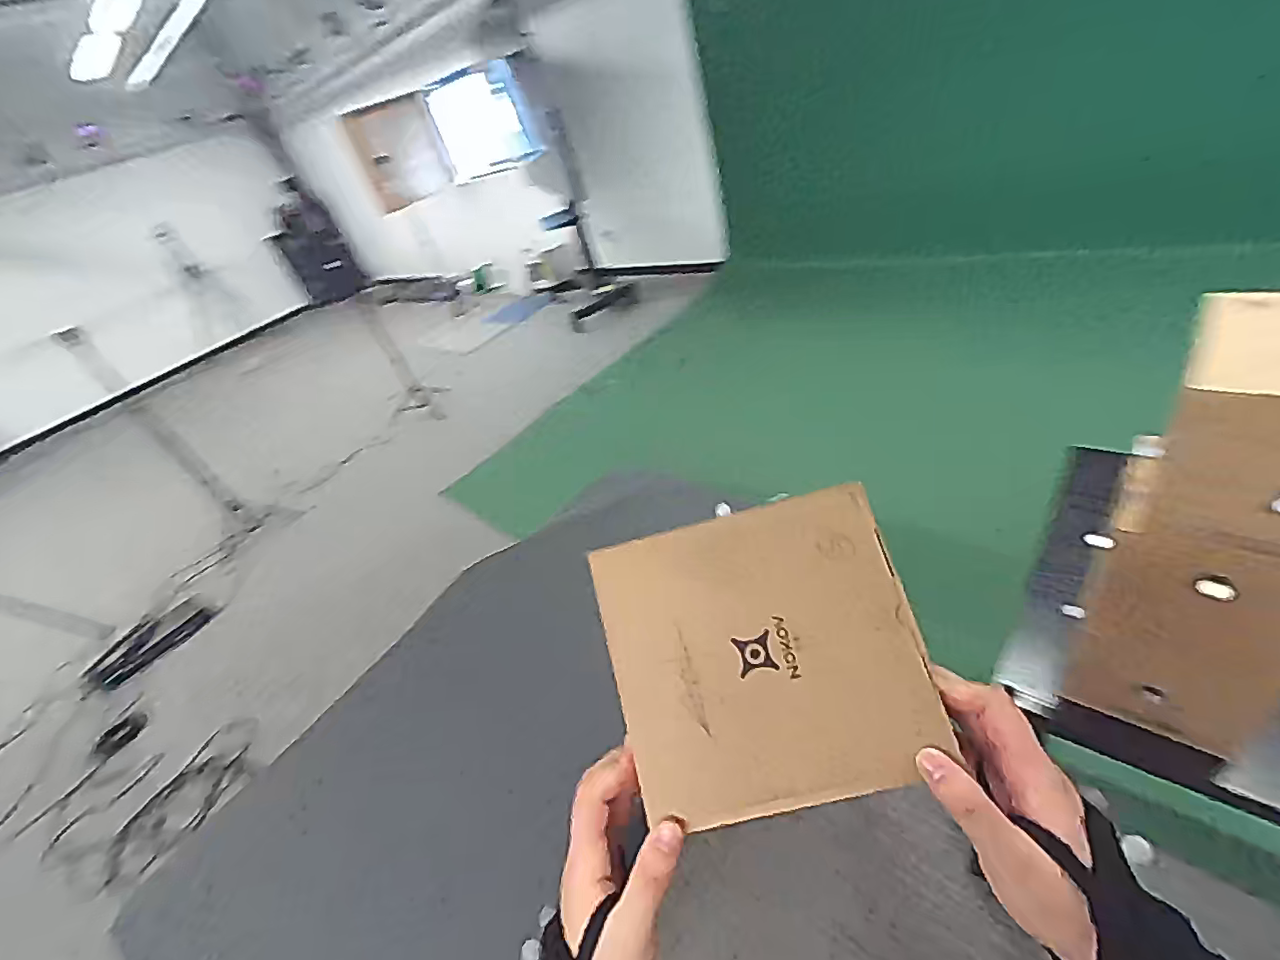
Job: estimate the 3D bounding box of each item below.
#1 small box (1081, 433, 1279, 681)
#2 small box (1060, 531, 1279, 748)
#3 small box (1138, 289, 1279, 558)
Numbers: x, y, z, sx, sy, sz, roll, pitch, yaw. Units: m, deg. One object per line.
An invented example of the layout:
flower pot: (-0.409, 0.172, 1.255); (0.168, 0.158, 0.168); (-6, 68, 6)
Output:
small box: (0.596, 0.077, 0.560); (0.179, 0.176, 0.168); (16, 49, 39)
small box: (0.646, 0.189, 0.668); (0.168, 0.176, 0.179); (17, 49, 38)
small box: (0.556, -0.045, 0.457); (0.168, 0.176, 0.179); (17, 51, 40)
